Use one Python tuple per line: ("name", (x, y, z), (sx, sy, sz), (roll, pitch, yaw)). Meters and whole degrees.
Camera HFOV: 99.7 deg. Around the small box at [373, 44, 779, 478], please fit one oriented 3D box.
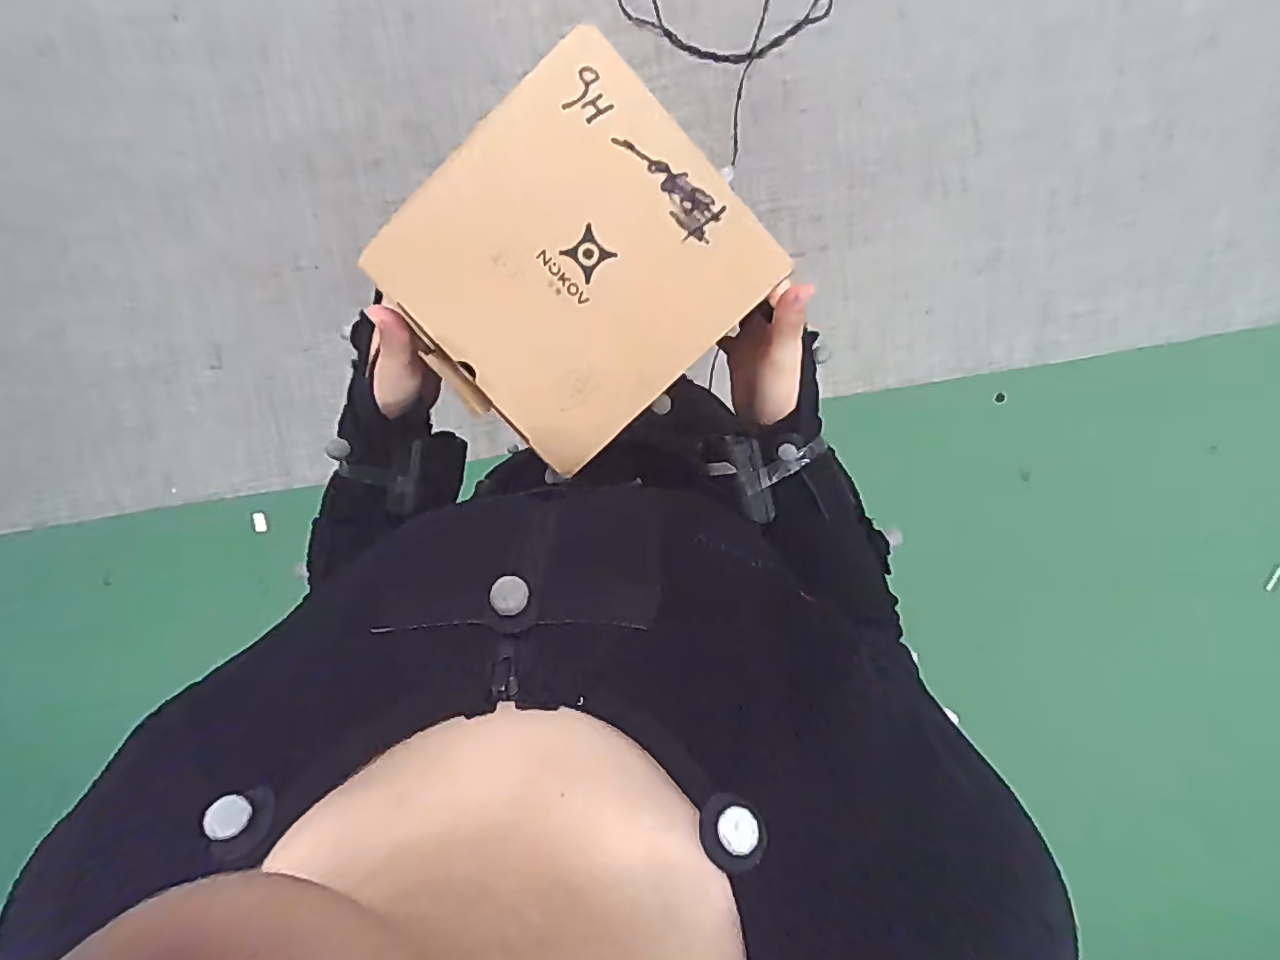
("small box", (-0.034, -0.128, 0.381), (0.179, 0.176, 0.168), (-43, 97, 8))
